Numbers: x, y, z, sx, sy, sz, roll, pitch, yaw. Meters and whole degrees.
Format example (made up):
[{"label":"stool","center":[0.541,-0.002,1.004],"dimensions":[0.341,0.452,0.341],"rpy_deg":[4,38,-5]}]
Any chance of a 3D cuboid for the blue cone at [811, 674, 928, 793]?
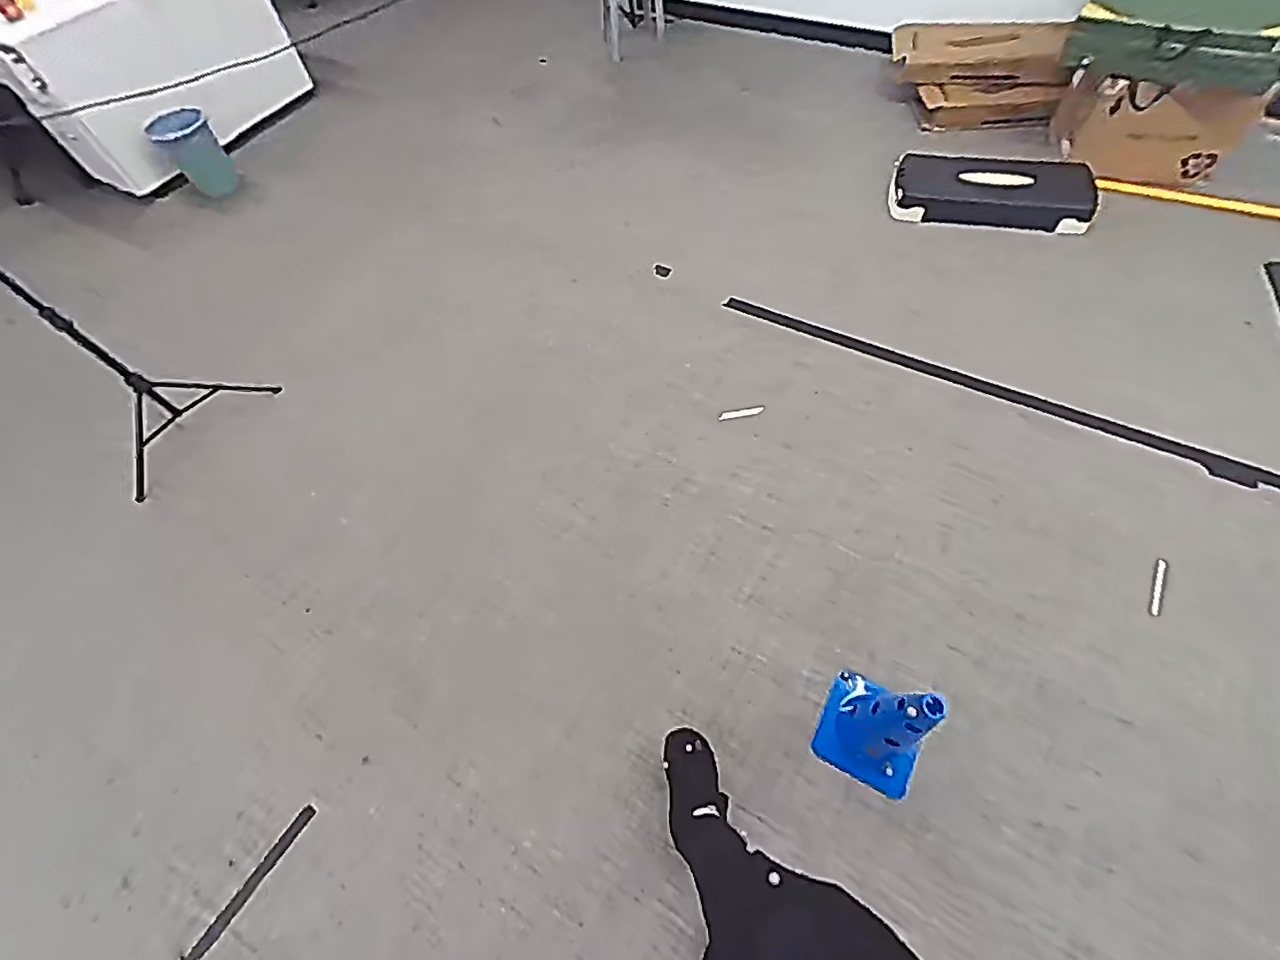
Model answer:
[{"label":"blue cone","center":[0.468,0.453,1.019],"dimensions":[0.192,0.380,0.193],"rpy_deg":[25,64,20]}]
